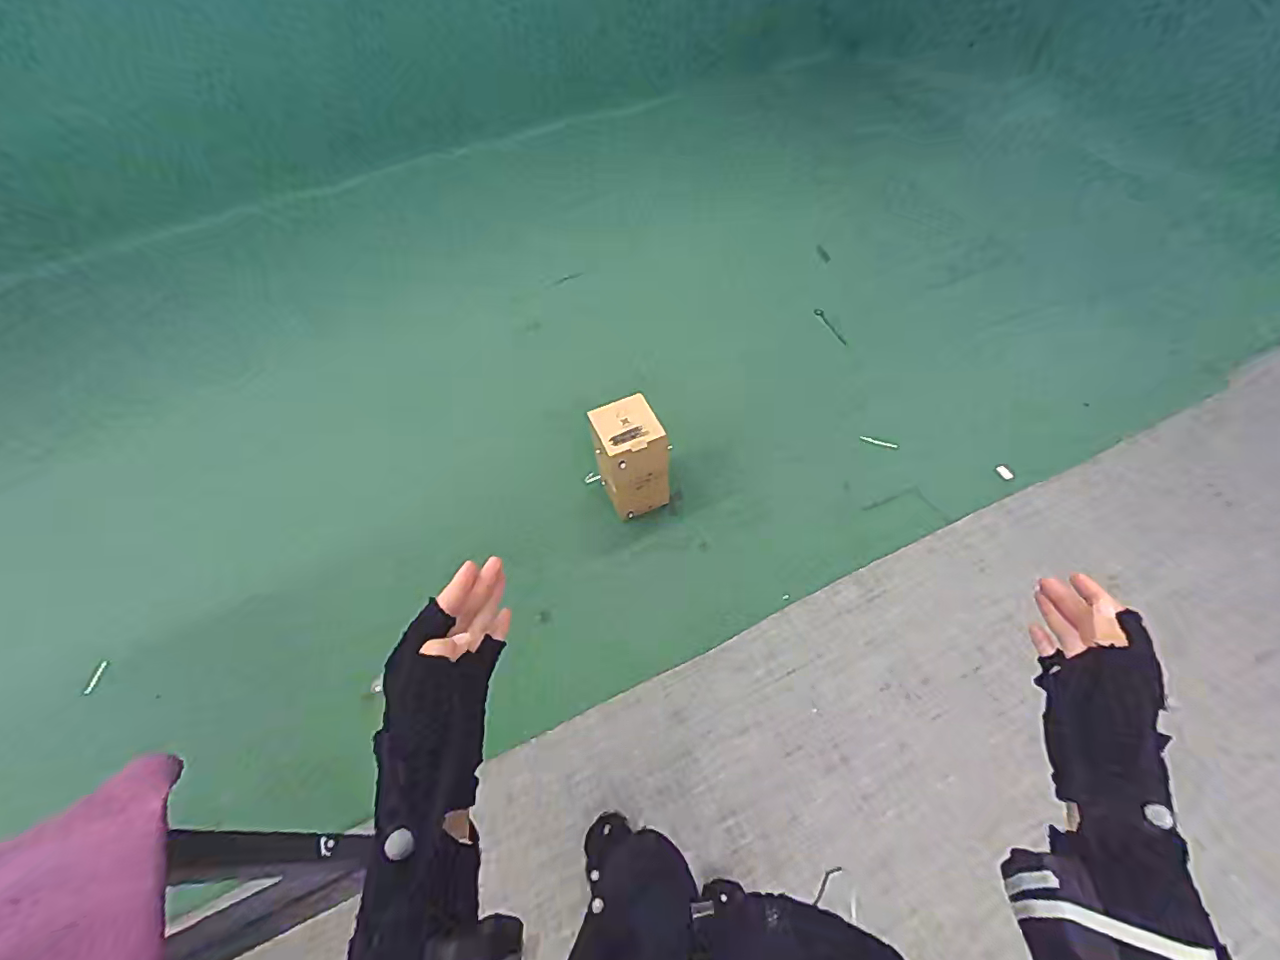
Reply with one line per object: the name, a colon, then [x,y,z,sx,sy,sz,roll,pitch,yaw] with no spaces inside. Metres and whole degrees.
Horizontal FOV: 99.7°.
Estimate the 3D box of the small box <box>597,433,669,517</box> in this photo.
small box: [-0.017,-0.007,1.660,0.168,0.176,0.179,-21,56,-10]
